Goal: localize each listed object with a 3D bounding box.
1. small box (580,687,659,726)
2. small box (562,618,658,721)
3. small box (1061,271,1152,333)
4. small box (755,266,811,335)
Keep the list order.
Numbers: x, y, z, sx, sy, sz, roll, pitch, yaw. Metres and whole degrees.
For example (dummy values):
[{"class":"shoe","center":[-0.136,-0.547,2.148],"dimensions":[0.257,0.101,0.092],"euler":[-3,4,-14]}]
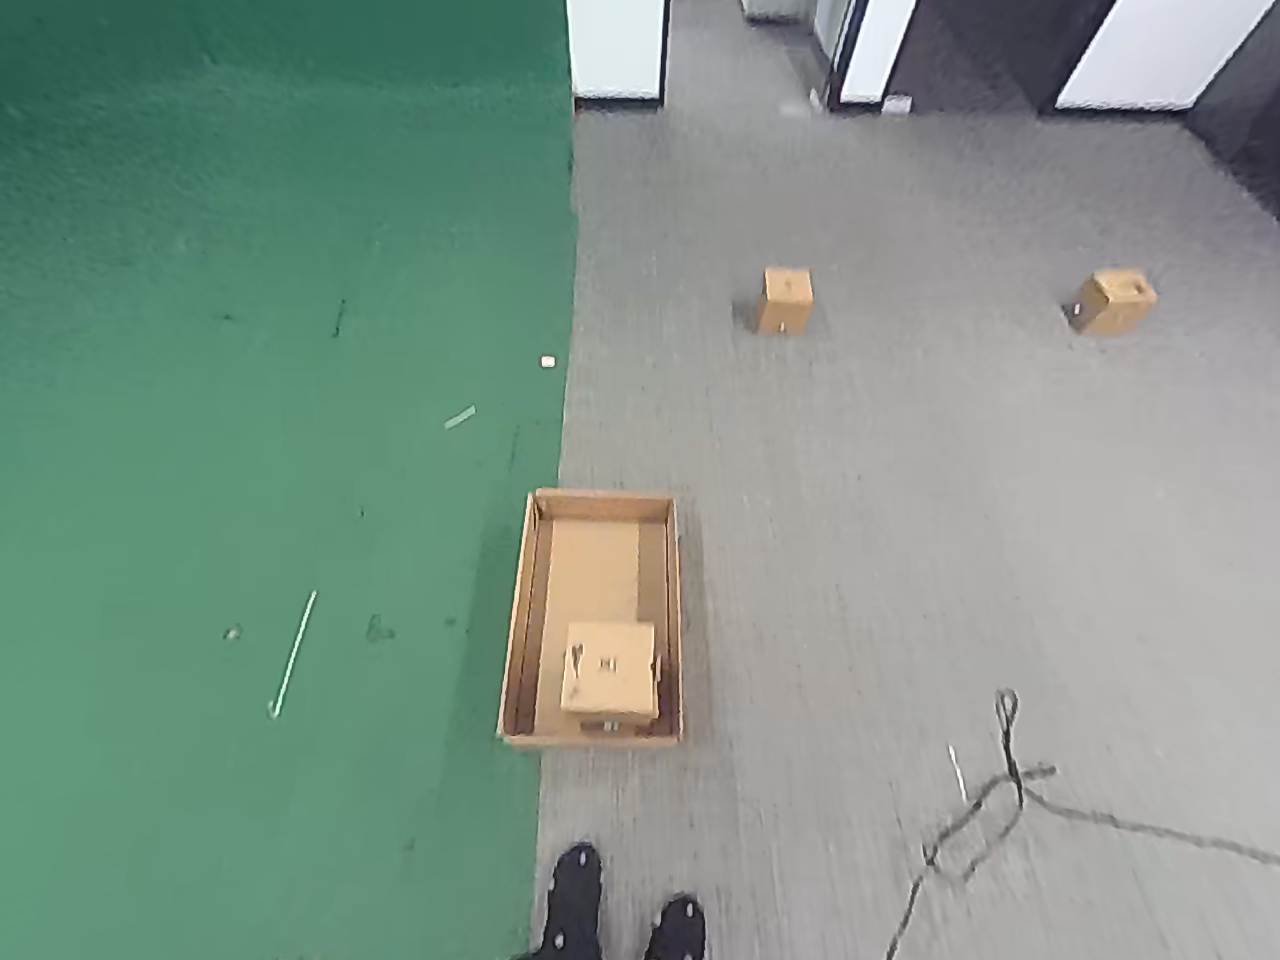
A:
[{"class":"small box","center":[-0.053,0.467,1.247],"dimensions":[0.179,0.176,0.168],"euler":[-1,59,-5]},{"class":"small box","center":[-0.059,0.390,1.102],"dimensions":[0.179,0.176,0.168],"euler":[3,59,-2]},{"class":"small box","center":[1.800,-0.686,2.096],"dimensions":[0.179,0.176,0.168],"euler":[0,59,-1]},{"class":"small box","center":[0.531,-0.672,2.031],"dimensions":[0.168,0.176,0.179],"euler":[4,59,1]}]
